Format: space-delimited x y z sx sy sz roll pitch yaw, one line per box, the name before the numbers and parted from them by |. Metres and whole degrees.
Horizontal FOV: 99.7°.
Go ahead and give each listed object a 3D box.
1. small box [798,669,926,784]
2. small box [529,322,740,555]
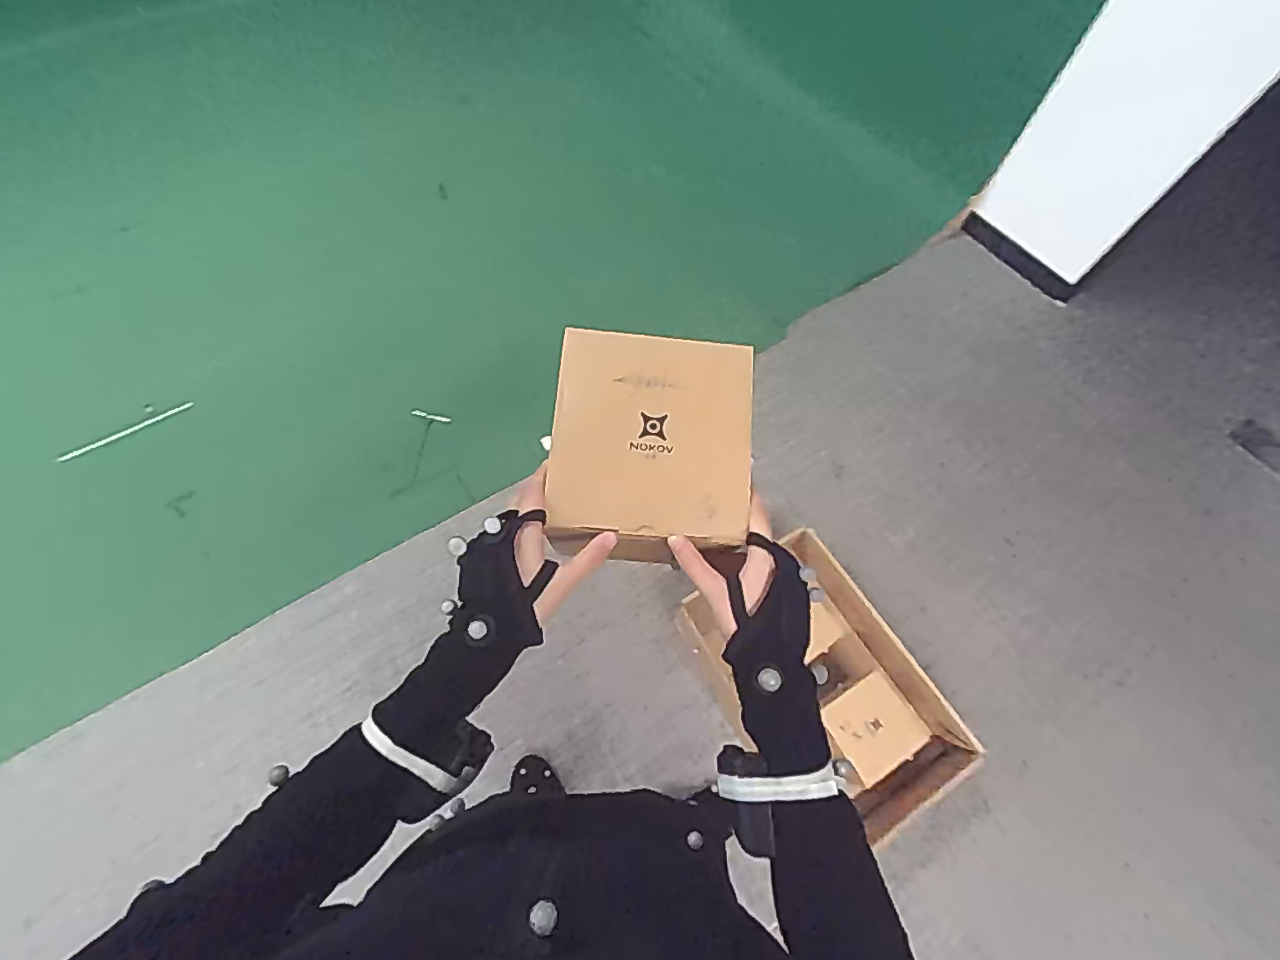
small box | 0.485 0.549 1.210 0.179 0.176 0.168 -28 67 -13
small box | -0.004 -0.026 0.527 0.168 0.176 0.179 5 74 -2
